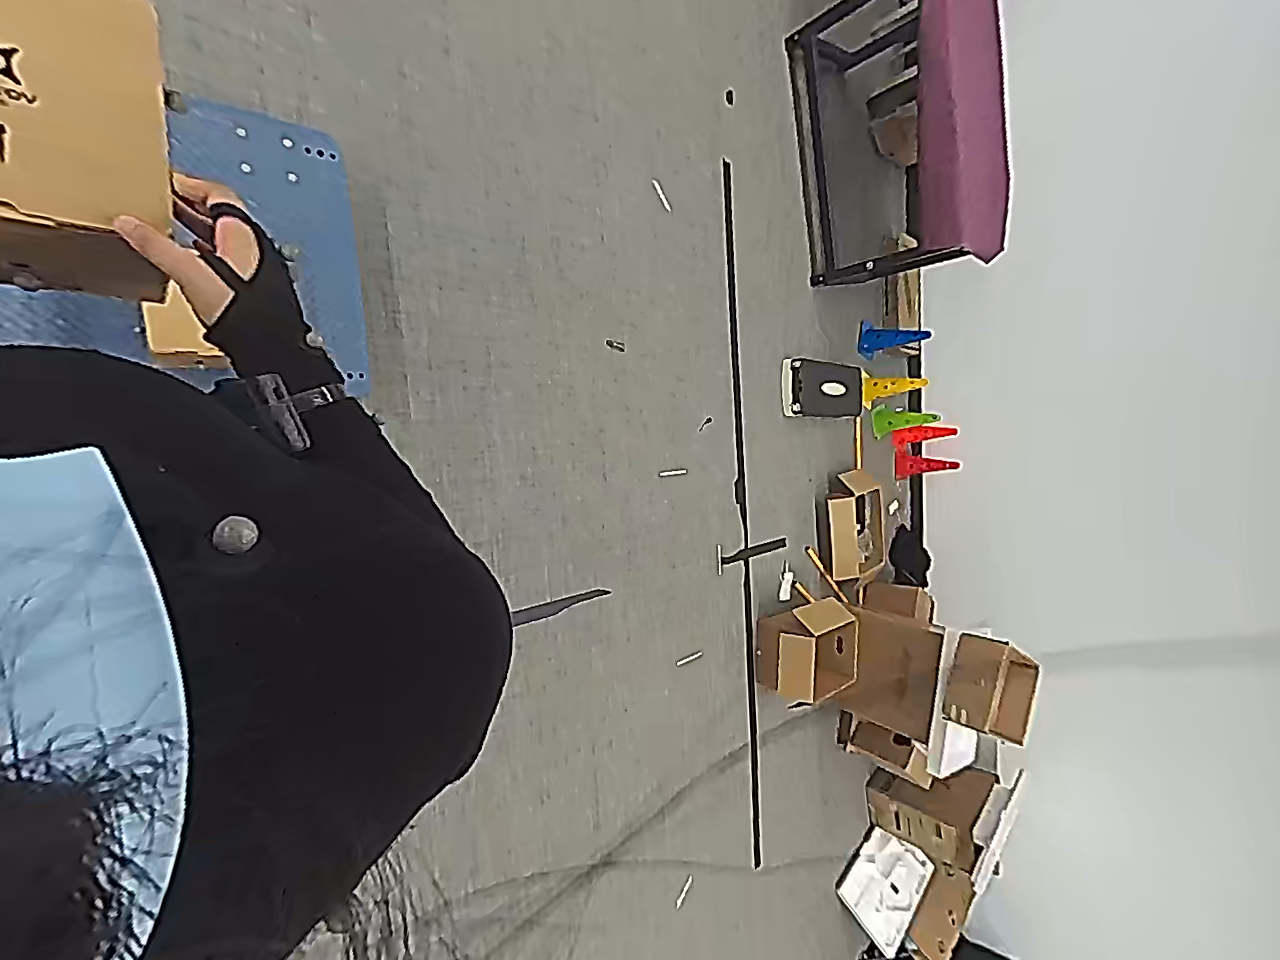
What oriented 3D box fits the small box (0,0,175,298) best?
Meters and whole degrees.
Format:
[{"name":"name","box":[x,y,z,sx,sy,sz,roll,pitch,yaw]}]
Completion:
[{"name":"small box","box":[-0.452,-0.251,0.388,0.168,0.176,0.179,-4,92,-43]}]

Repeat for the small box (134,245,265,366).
[{"name":"small box","box":[-0.800,-0.308,0.977,0.168,0.176,0.179,-10,99,-42]}]
